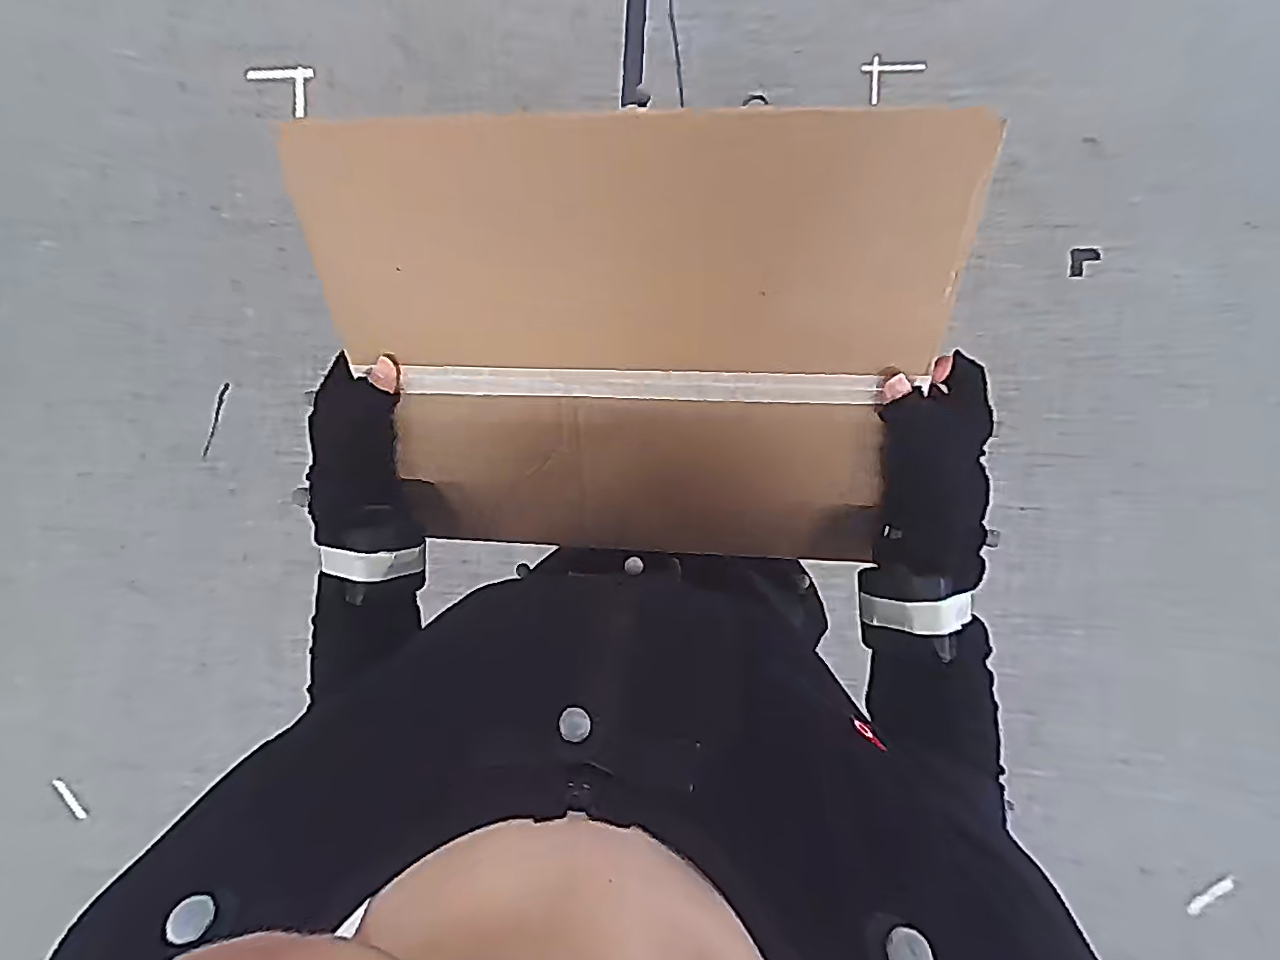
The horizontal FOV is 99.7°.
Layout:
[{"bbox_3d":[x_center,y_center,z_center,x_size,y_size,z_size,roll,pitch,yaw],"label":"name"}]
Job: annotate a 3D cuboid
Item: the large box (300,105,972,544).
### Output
[{"bbox_3d":[0.007,-0.160,0.517,0.408,0.320,0.320,2,125,6],"label":"large box"}]
